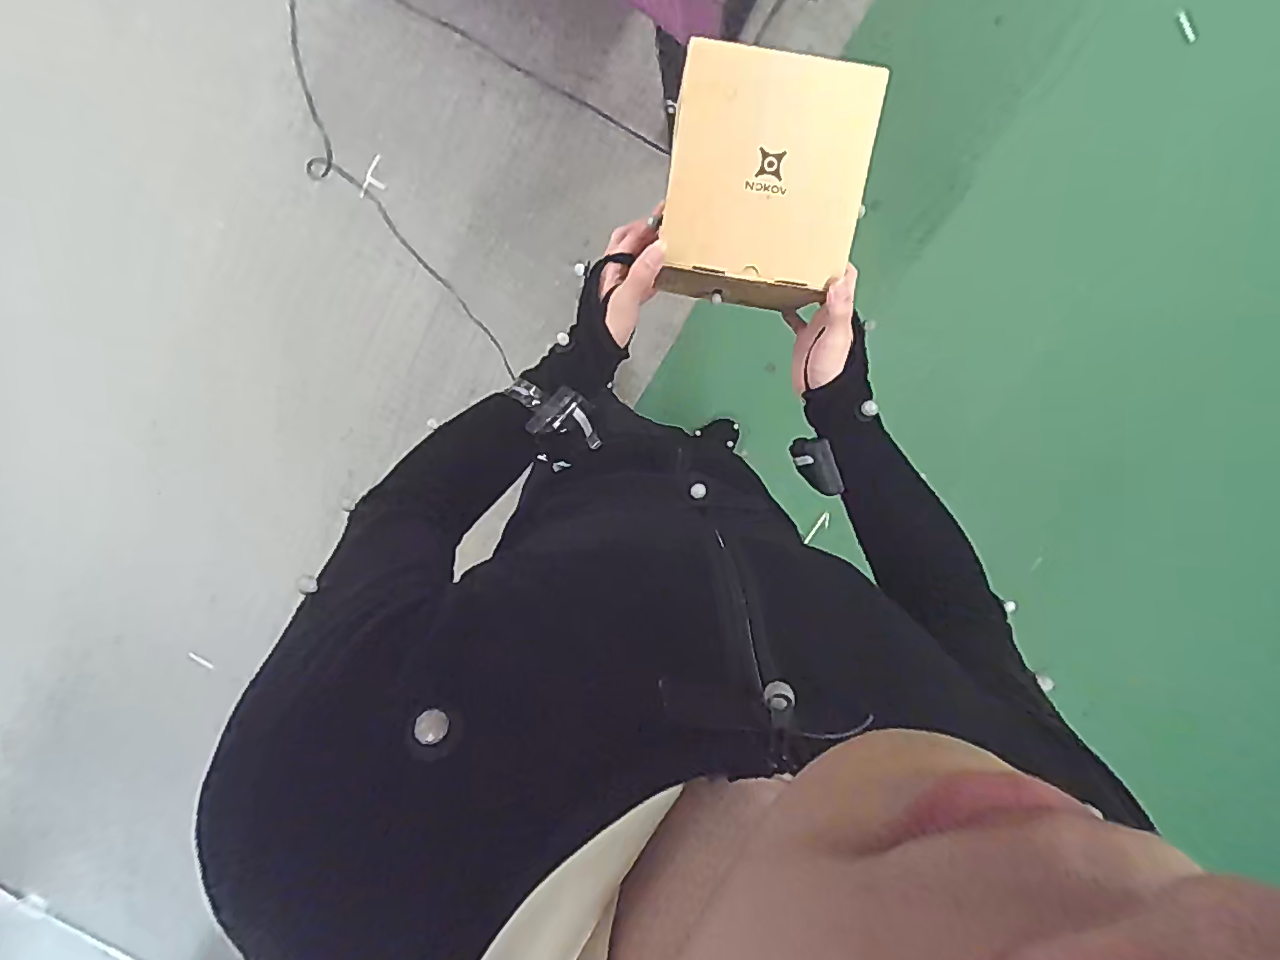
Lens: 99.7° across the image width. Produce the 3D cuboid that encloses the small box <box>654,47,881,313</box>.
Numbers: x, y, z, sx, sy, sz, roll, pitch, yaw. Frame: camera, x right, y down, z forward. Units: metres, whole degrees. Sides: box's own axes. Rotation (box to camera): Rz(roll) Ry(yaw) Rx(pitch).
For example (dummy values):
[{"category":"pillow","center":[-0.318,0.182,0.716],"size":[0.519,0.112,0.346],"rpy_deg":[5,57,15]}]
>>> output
[{"category":"small box","center":[0.105,-0.271,0.532],"size":[0.168,0.176,0.179],"rpy_deg":[7,103,-1]}]
